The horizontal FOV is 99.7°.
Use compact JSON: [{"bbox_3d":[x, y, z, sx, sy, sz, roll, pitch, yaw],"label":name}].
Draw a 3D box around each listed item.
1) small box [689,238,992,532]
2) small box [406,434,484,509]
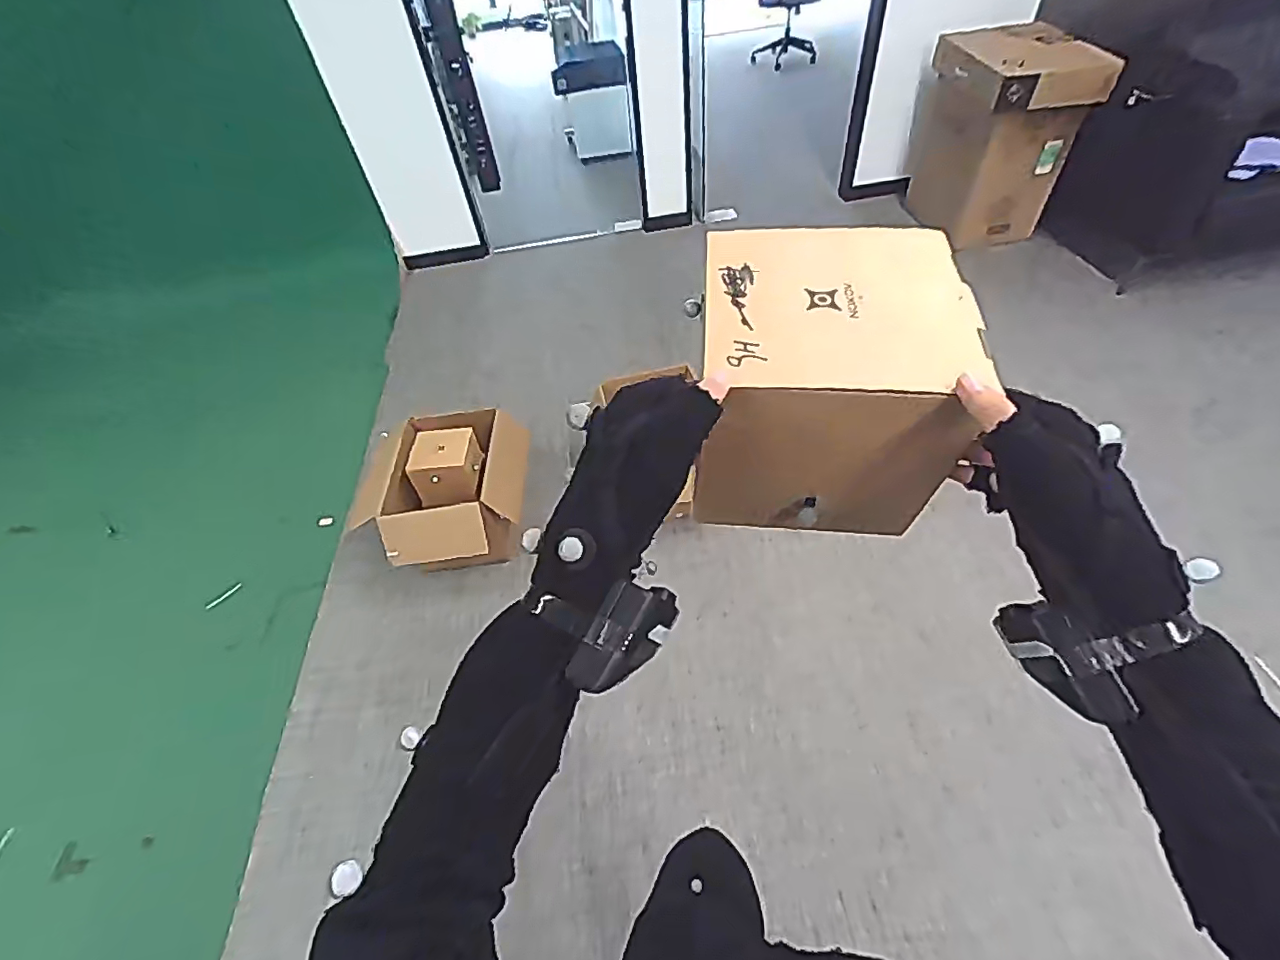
[{"bbox_3d":[0.136,-0.070,0.441,0.179,0.176,0.168,4,55,4],"label":"small box"},{"bbox_3d":[-0.601,-0.025,1.697,0.179,0.176,0.168,-4,48,1],"label":"small box"}]
